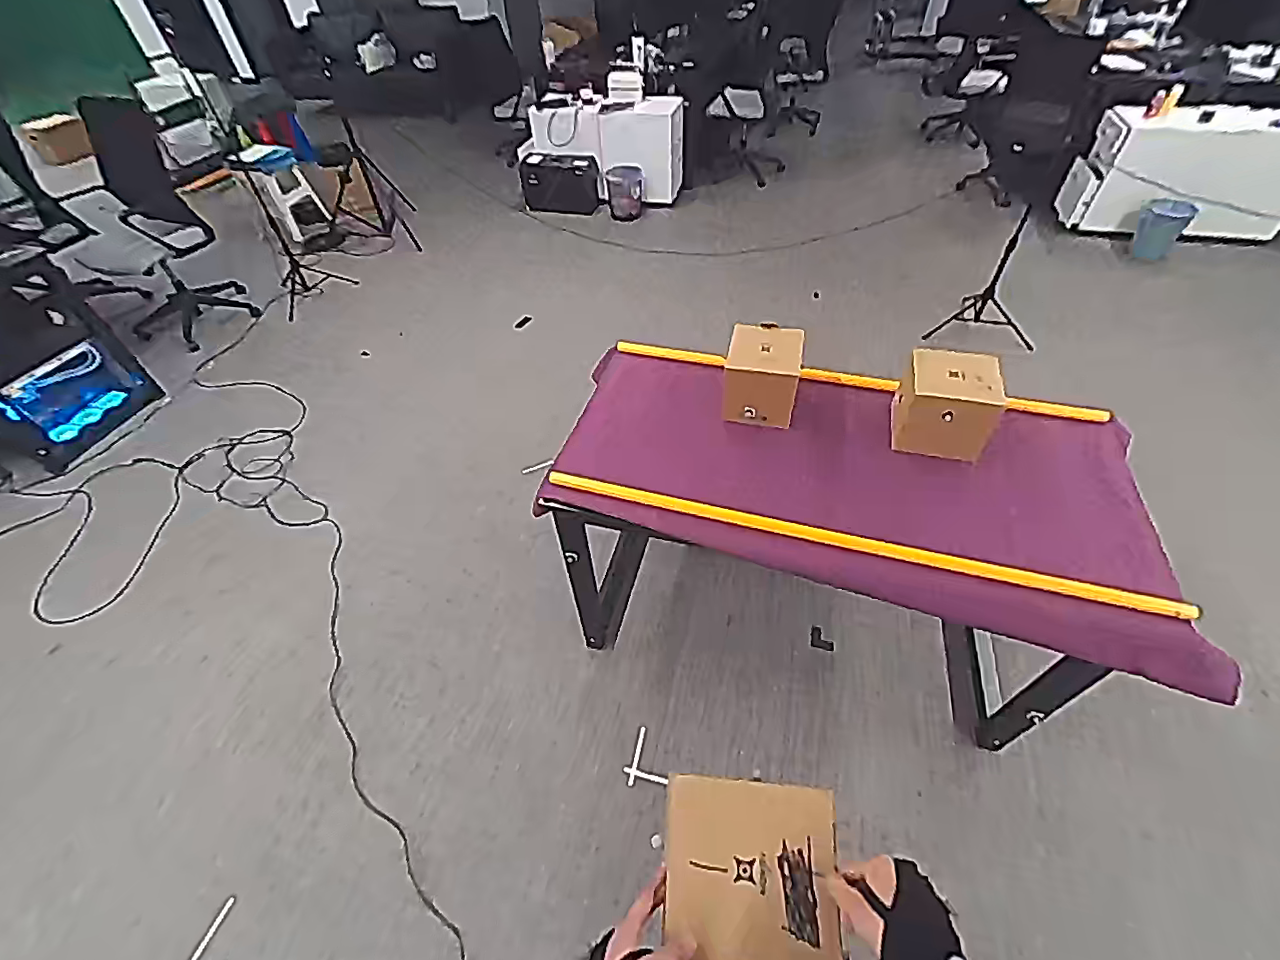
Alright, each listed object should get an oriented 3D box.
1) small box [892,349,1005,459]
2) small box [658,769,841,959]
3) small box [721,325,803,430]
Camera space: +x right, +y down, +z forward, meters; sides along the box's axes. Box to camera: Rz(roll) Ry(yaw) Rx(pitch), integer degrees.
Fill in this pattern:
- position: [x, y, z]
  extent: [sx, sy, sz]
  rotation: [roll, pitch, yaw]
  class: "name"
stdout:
- position: [0.671, -0.166, 1.200]
  extent: [0.179, 0.176, 0.168]
  rotation: [11, 51, 13]
  class: "small box"
- position: [0.114, 0.434, 0.623]
  extent: [0.179, 0.176, 0.168]
  rotation: [4, 62, 4]
  class: "small box"
- position: [0.290, -0.247, 1.298]
  extent: [0.168, 0.176, 0.179]
  rotation: [8, 50, 12]
  class: "small box"
